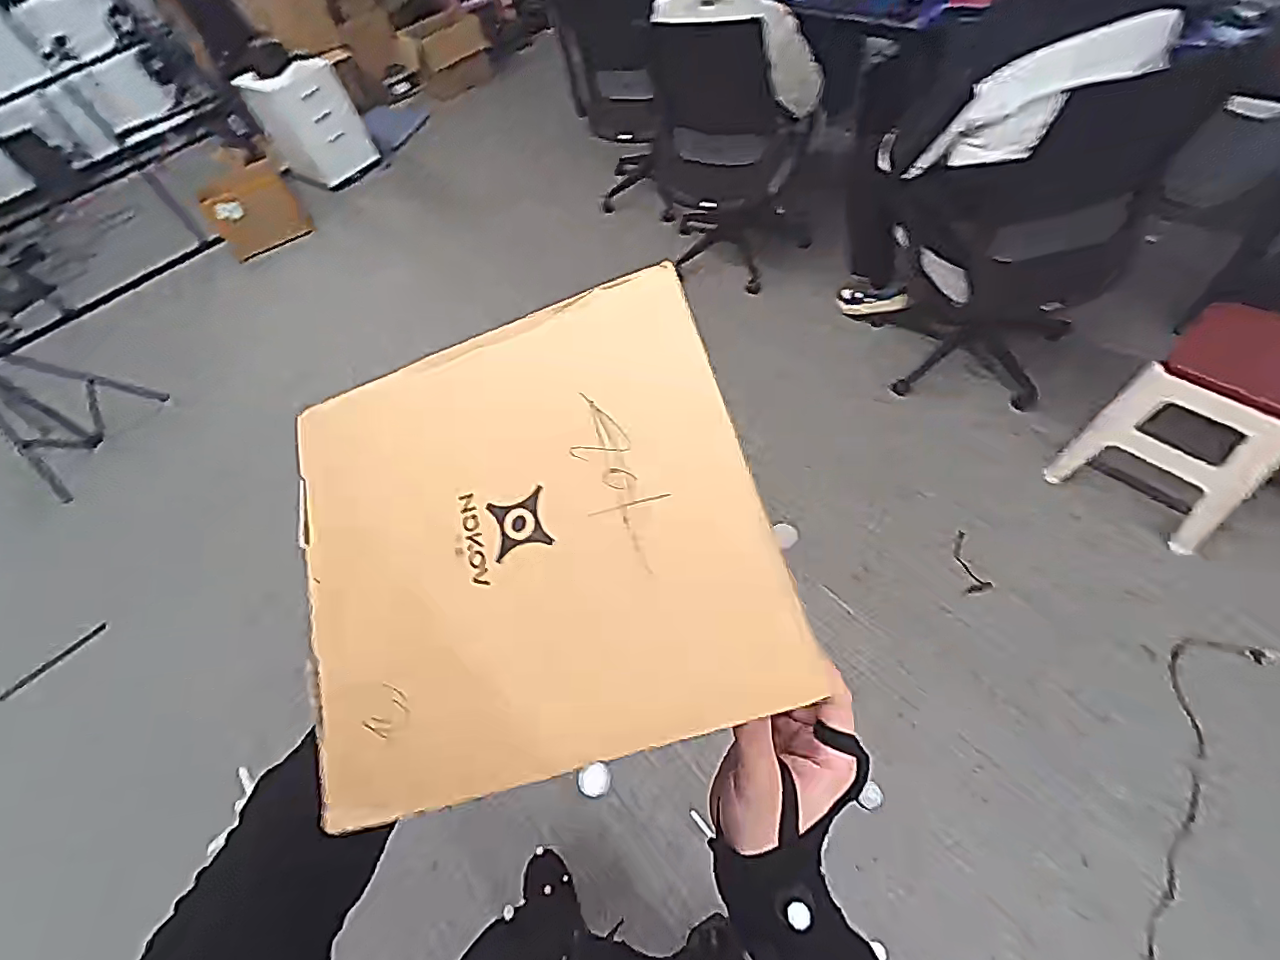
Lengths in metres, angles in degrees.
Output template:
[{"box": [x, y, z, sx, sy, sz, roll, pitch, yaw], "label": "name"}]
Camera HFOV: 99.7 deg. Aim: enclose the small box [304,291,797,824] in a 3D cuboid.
[{"box": [-0.031, 0.044, 0.284, 0.179, 0.176, 0.168, -21, 72, 7], "label": "small box"}]
